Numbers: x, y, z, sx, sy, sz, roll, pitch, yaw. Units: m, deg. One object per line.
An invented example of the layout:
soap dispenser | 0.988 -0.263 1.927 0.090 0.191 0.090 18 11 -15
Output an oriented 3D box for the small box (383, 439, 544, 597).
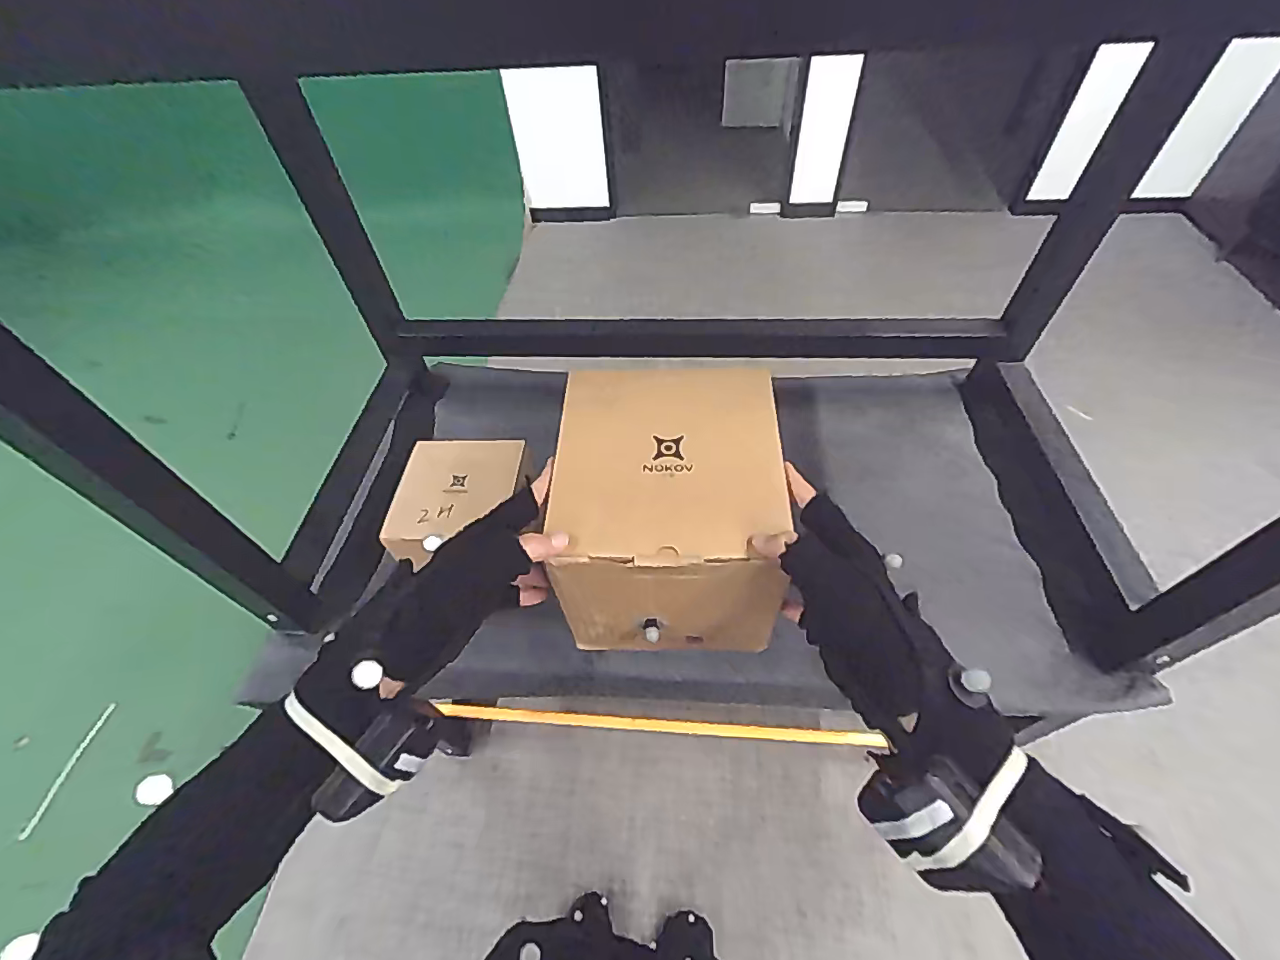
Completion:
small box | -0.246 0.057 0.809 0.168 0.176 0.179 0 51 4
